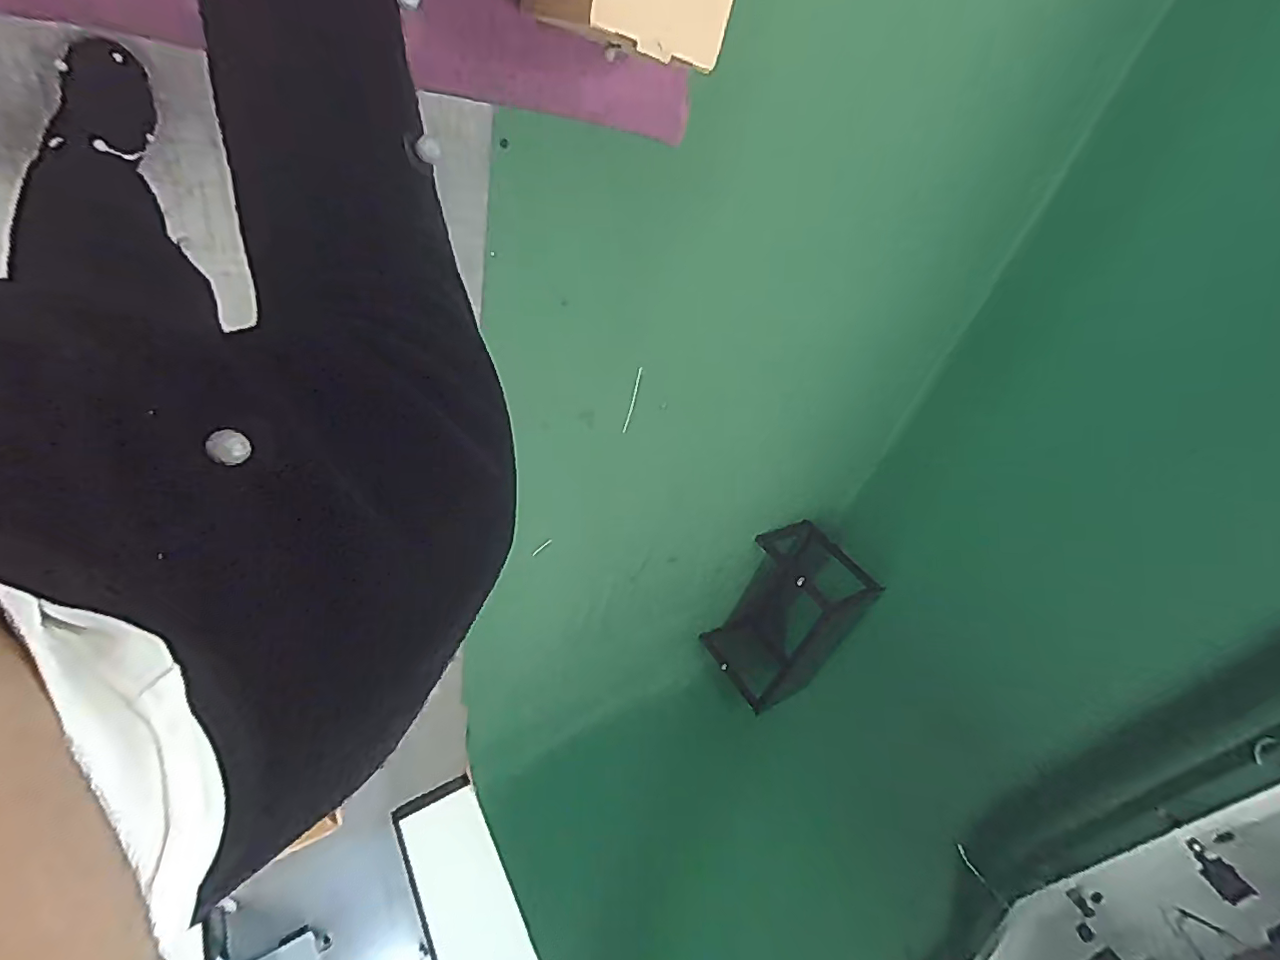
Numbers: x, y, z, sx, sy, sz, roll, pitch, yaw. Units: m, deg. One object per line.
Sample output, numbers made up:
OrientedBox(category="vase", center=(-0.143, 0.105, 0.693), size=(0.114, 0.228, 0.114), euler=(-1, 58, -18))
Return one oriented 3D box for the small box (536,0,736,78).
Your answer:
OrientedBox(category="small box", center=(-0.002, -0.559, 0.561), size=(0.168, 0.176, 0.179), euler=(-9, 134, -35))
